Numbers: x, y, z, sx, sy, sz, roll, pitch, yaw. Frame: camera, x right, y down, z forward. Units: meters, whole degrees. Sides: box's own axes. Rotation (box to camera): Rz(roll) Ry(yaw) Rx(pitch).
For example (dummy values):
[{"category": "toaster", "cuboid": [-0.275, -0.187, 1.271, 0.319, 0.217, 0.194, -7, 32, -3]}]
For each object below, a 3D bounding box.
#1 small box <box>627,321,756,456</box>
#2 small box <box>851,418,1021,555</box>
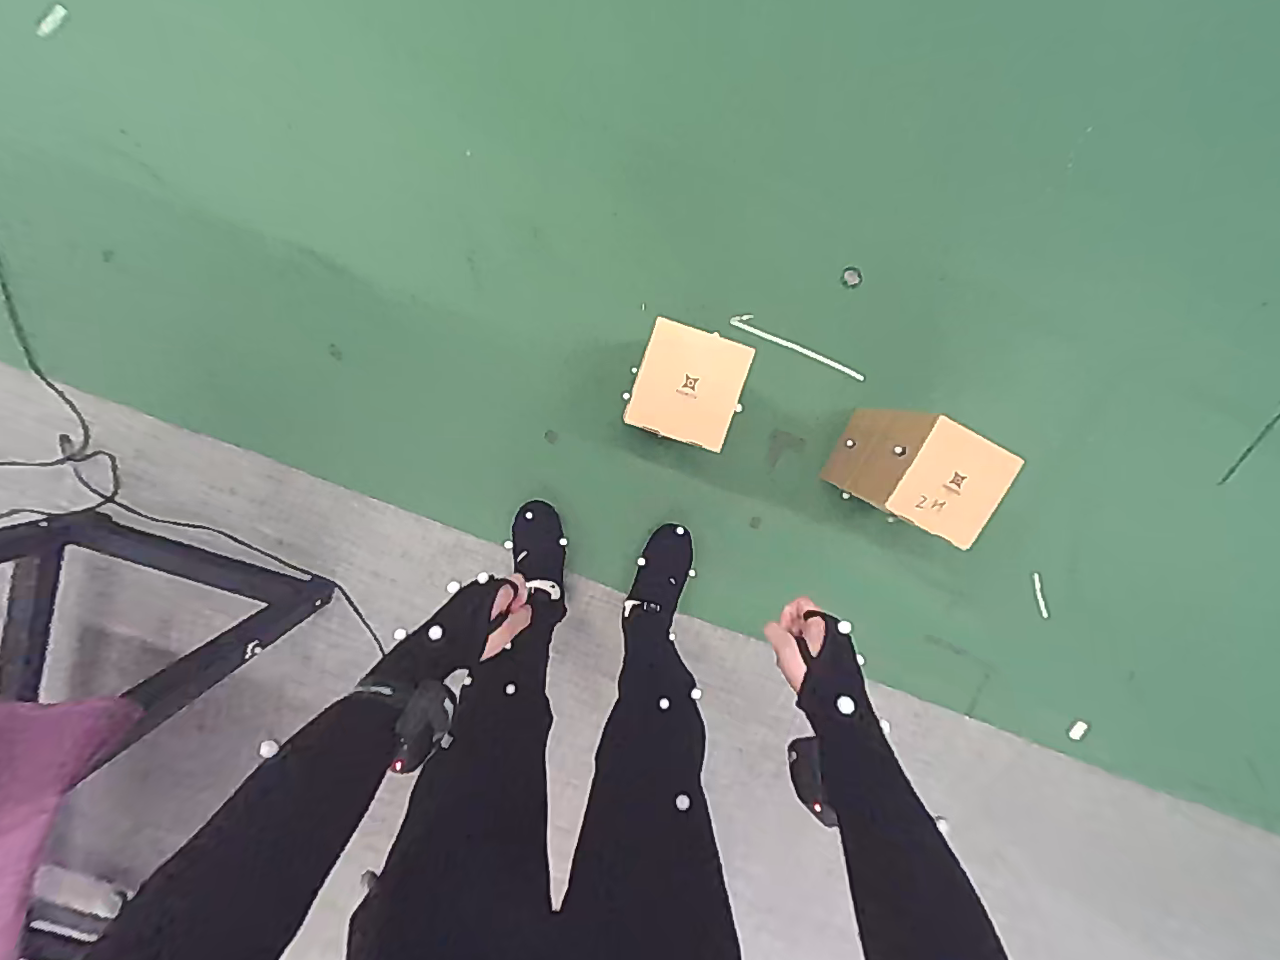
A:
[{"category": "small box", "cuboid": [0.079, -0.157, 0.938, 0.168, 0.176, 0.179, 18, 100, -3]}, {"category": "small box", "cuboid": [0.510, 0.001, 0.964, 0.168, 0.176, 0.179, 28, 99, -5]}]
